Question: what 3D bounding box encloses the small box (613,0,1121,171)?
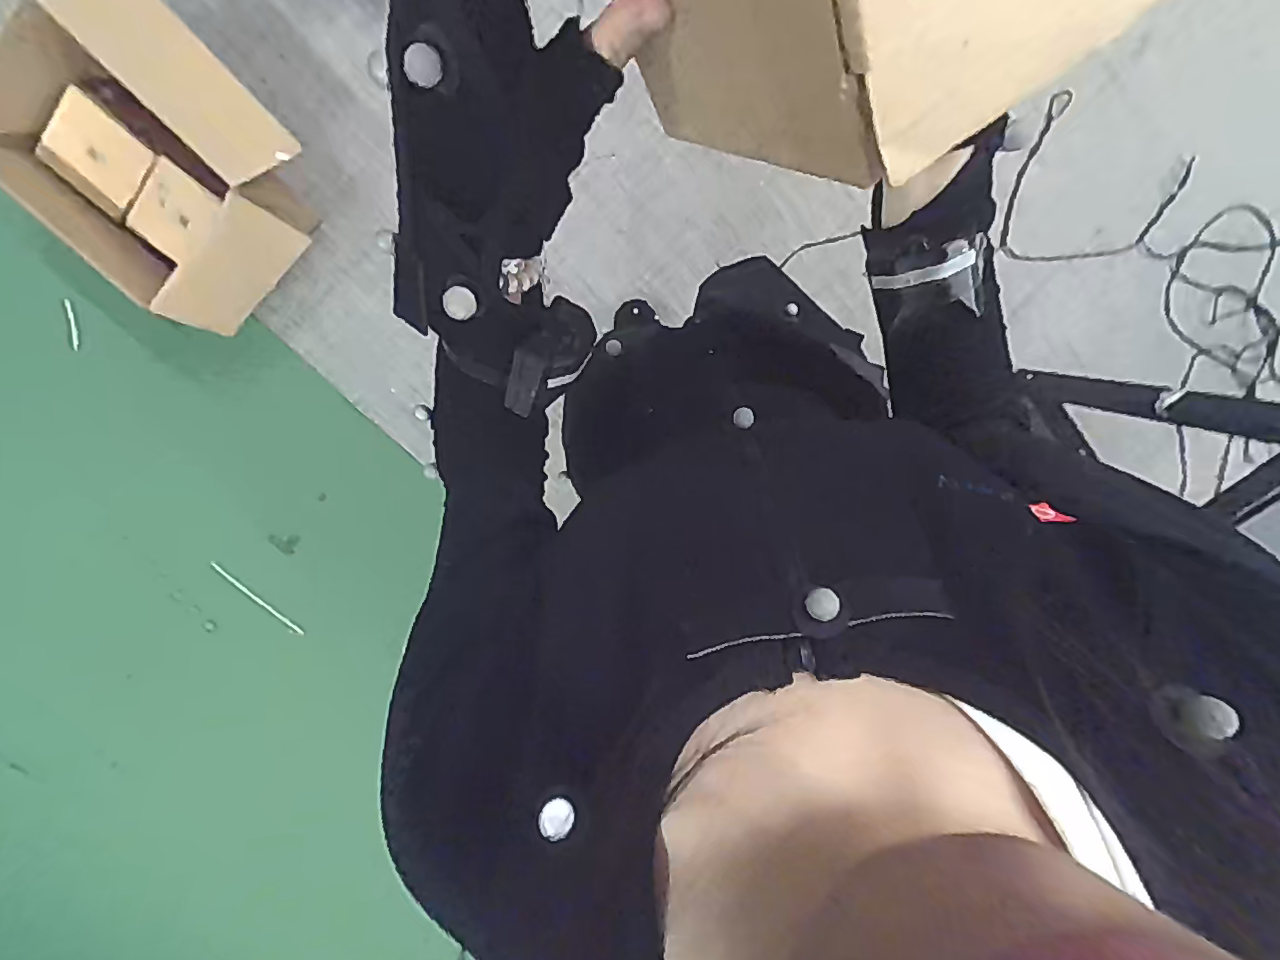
[{"bbox_3d":[0.070,-0.229,0.163,0.179,0.176,0.168,-32,131,3],"label":"small box"}]
